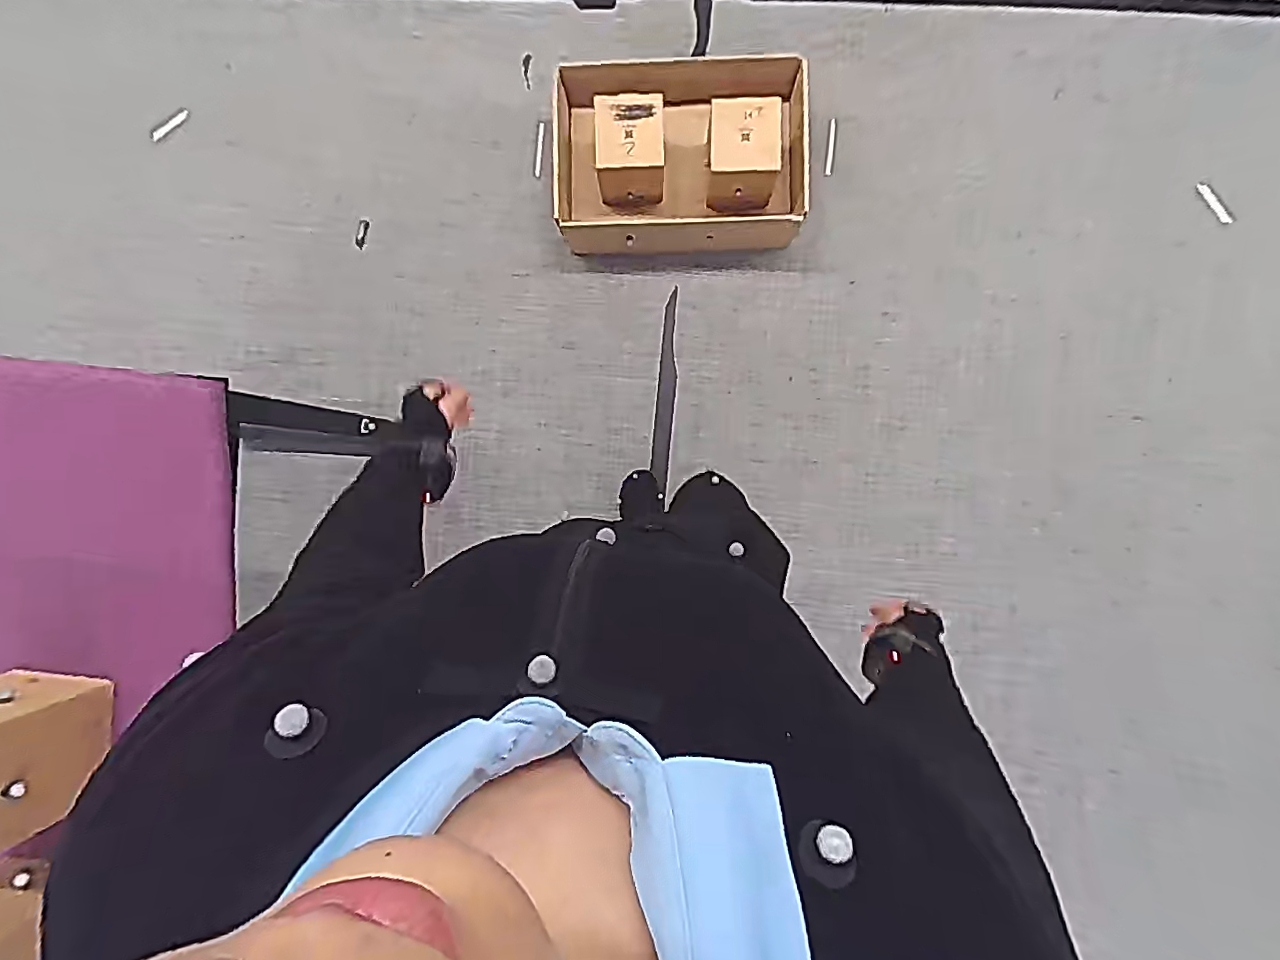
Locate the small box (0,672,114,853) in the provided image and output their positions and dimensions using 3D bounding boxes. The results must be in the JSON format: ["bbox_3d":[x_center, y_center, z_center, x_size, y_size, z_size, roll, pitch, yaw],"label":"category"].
[{"bbox_3d":[-0.877,0.378,0.736,0.168,0.176,0.179,5,91,3],"label":"small box"}]

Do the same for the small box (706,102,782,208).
[{"bbox_3d":[0.256,-0.806,1.357,0.168,0.176,0.179,1,89,3],"label":"small box"}]
